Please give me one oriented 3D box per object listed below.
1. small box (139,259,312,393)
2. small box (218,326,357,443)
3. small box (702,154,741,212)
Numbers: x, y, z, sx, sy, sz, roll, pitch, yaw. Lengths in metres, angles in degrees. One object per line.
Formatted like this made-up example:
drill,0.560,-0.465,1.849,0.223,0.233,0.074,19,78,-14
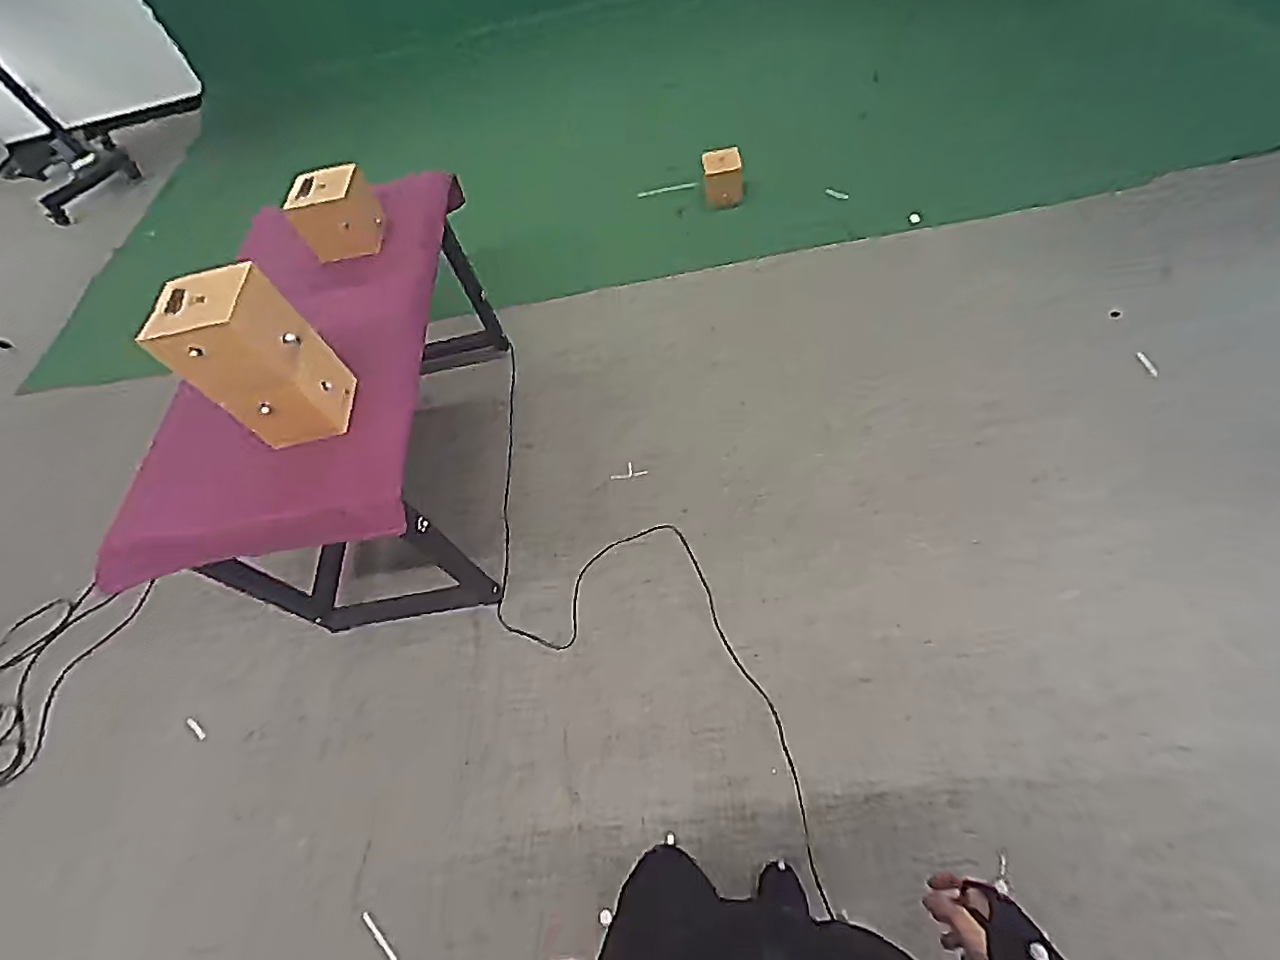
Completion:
small box,-0.777,-0.288,1.035,0.179,0.176,0.168,-10,58,3
small box,-0.749,-0.203,1.173,0.179,0.176,0.168,-11,58,4
small box,0.386,-1.410,2.569,0.168,0.176,0.179,-7,58,6
